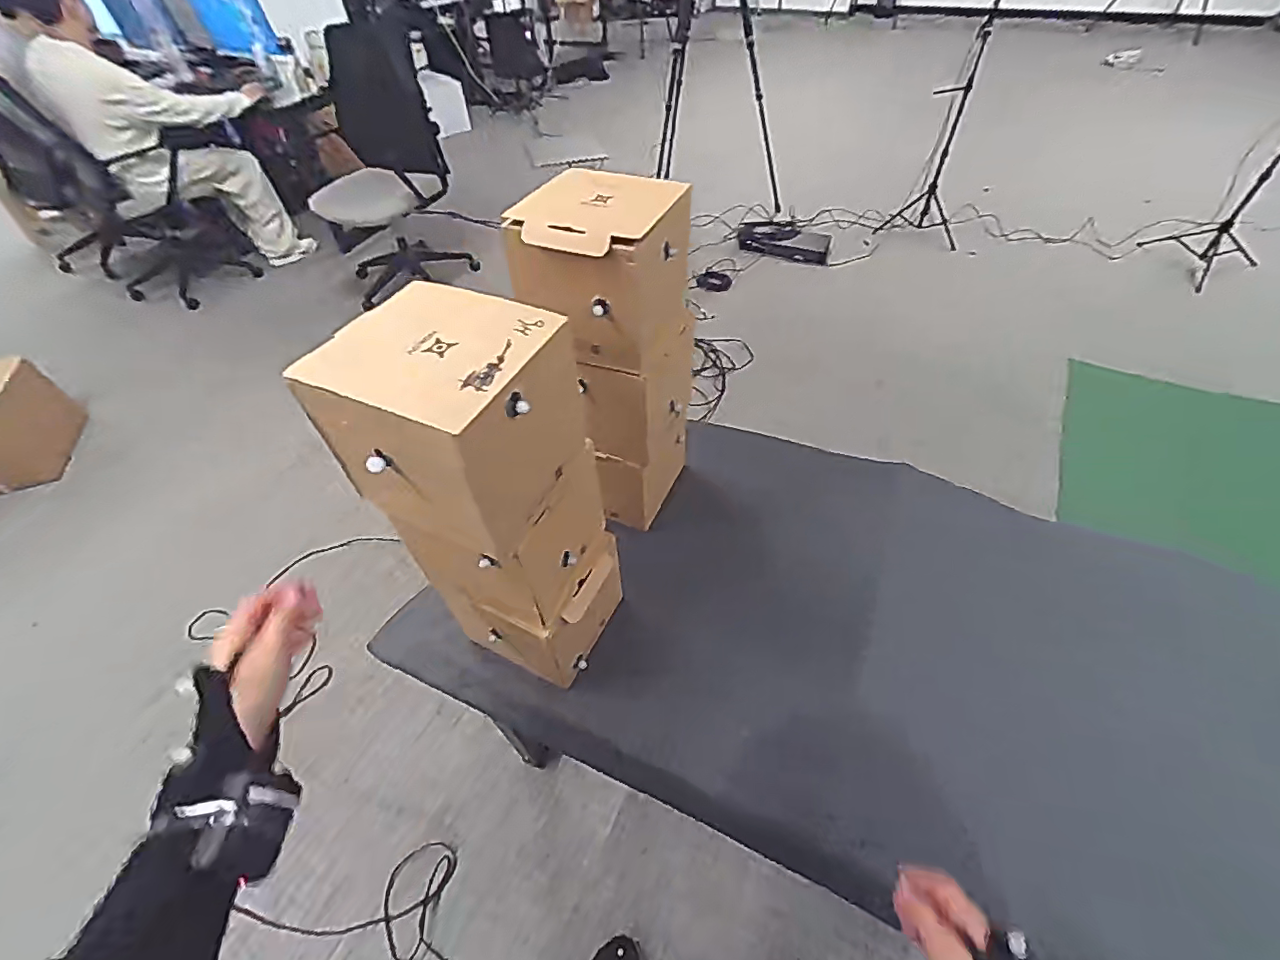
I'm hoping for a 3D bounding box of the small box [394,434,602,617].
[{"bbox_3d":[-0.160,0.039,0.645,0.179,0.176,0.168,16,52,16],"label":"small box"}]

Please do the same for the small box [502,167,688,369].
[{"bbox_3d":[-0.044,-0.266,0.682,0.168,0.176,0.179,16,51,15],"label":"small box"}]

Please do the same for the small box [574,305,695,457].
[{"bbox_3d":[-0.031,-0.158,0.803,0.179,0.176,0.168,19,54,18],"label":"small box"}]

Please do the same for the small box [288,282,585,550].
[{"bbox_3d":[-0.170,-0.059,0.513,0.179,0.176,0.168,18,52,17],"label":"small box"}]

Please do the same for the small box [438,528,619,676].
[{"bbox_3d":[-0.141,0.151,0.762,0.179,0.176,0.168,19,53,19],"label":"small box"}]
